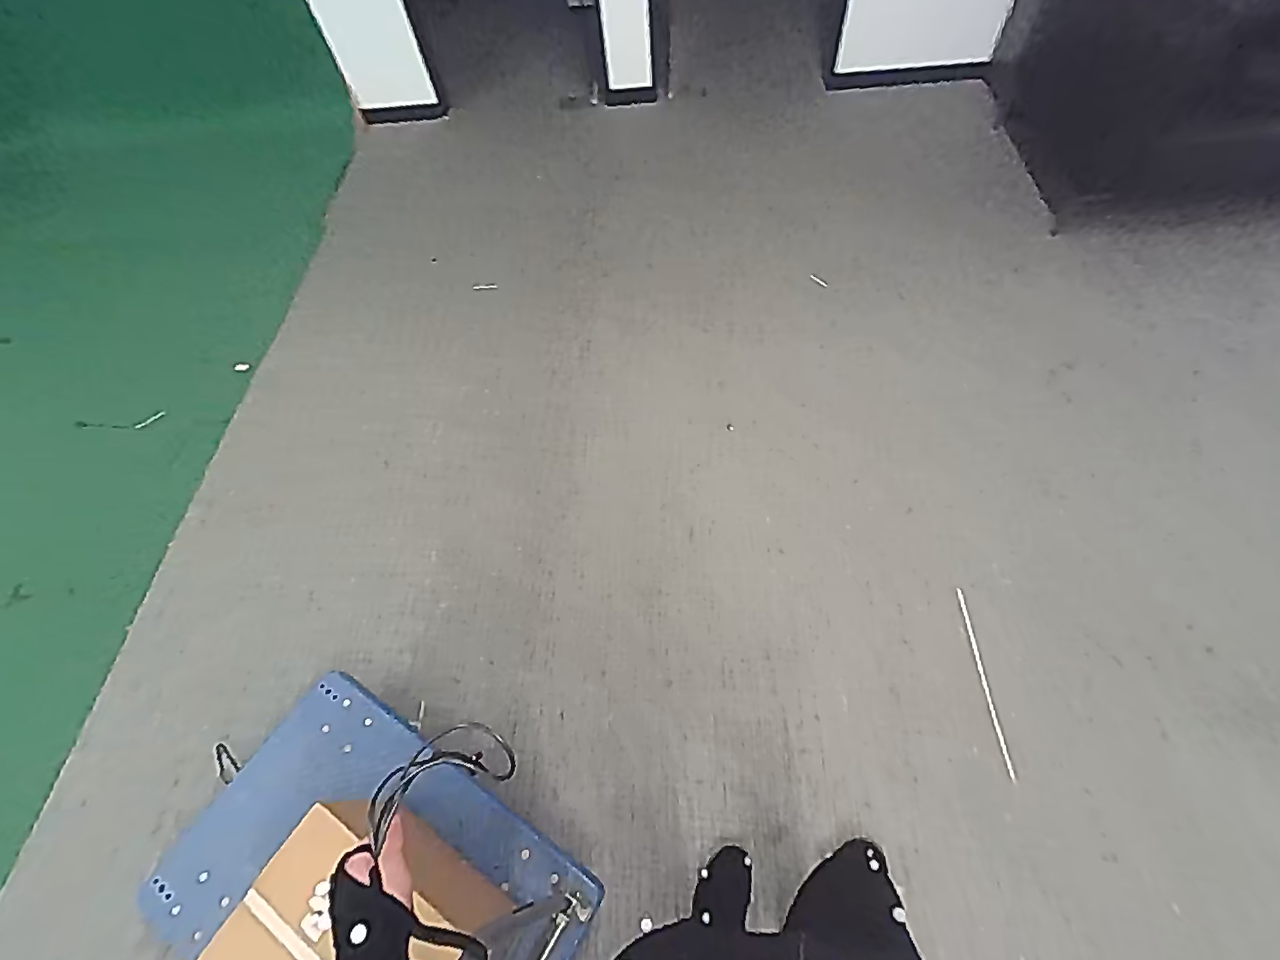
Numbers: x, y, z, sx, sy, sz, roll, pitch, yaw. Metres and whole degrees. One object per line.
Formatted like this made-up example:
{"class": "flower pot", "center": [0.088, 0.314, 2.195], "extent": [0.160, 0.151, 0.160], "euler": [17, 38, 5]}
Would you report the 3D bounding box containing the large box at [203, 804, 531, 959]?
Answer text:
{"class": "large box", "center": [-0.475, 0.858, 0.983], "extent": [0.408, 0.320, 0.320], "euler": [26, 65, 19]}
